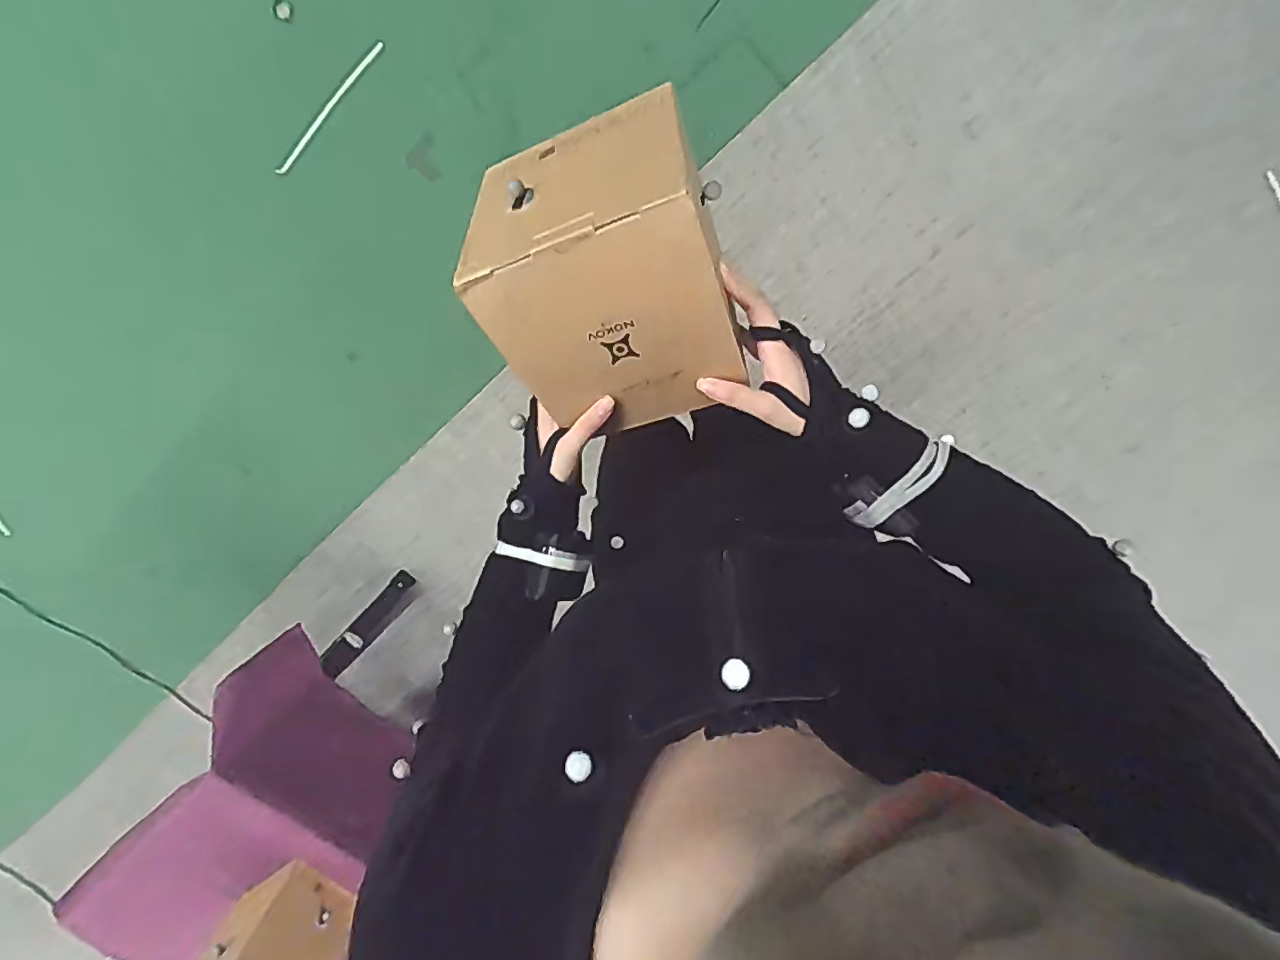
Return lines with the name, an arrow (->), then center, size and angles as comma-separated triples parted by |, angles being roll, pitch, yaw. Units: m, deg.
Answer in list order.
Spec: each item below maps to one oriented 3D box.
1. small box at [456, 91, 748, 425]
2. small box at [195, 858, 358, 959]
small box -> -0.019, -0.179, 0.442 | 0.168, 0.176, 0.179 | -13, 142, 16
small box -> -0.641, 0.817, 0.944 | 0.179, 0.176, 0.168 | -37, 105, 13
